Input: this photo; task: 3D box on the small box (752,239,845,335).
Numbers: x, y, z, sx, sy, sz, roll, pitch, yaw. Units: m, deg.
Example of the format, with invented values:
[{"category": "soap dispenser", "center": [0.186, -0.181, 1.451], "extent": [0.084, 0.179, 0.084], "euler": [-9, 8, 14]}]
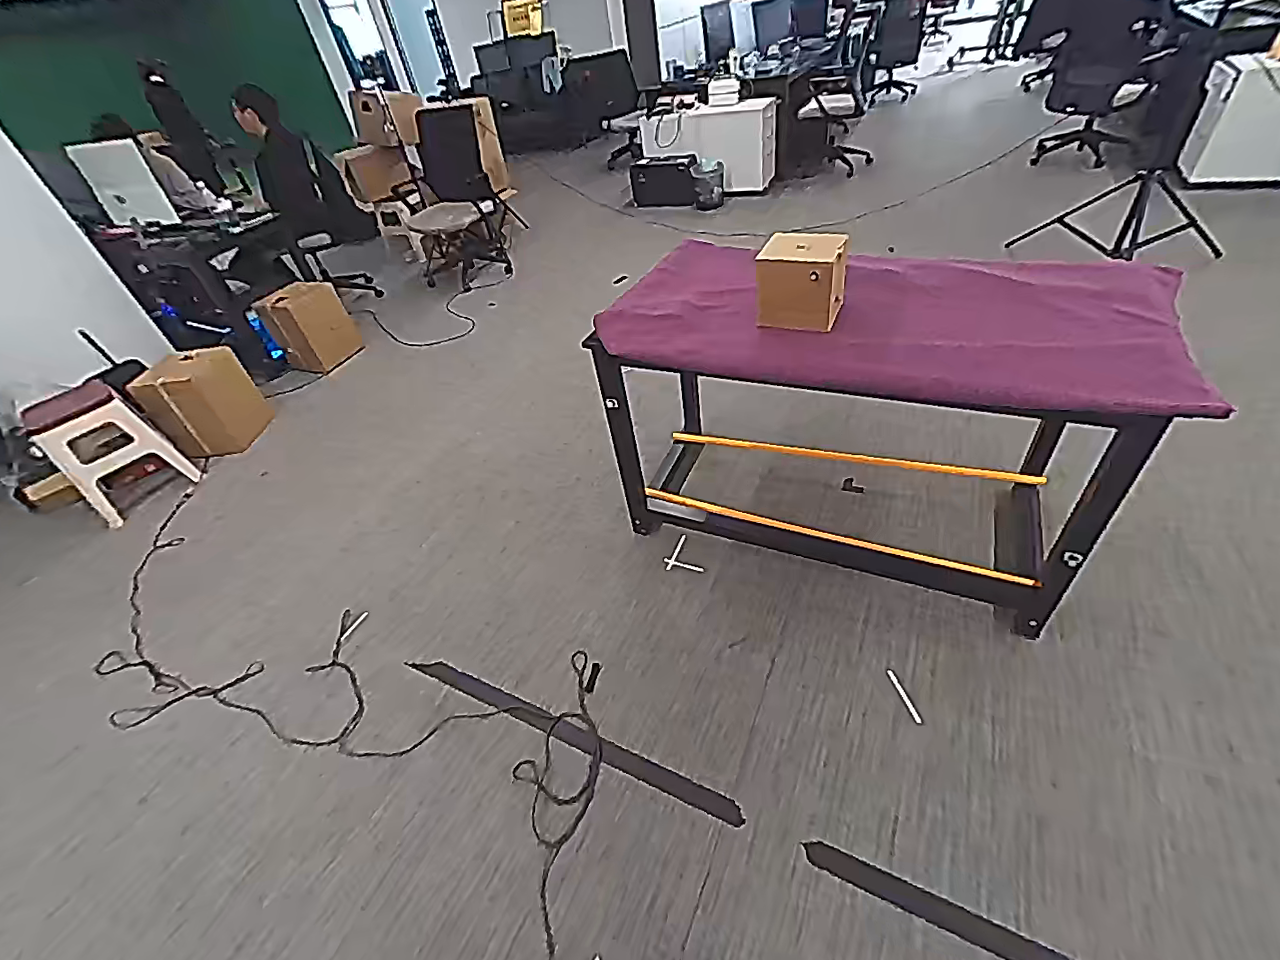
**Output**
[{"category": "small box", "center": [0.377, -0.462, 1.295], "extent": [0.179, 0.176, 0.168], "euler": [13, 46, 24]}]
